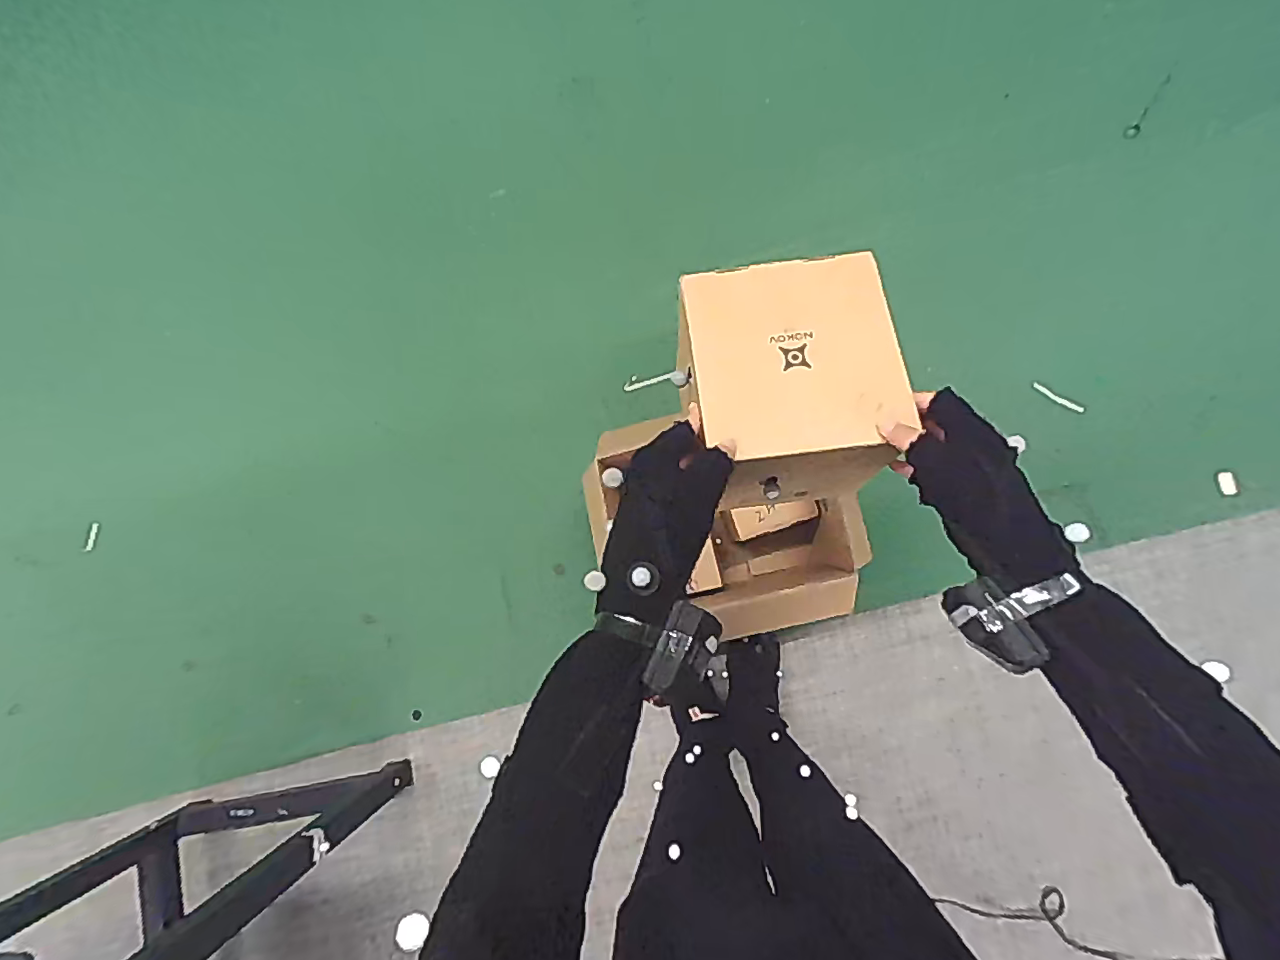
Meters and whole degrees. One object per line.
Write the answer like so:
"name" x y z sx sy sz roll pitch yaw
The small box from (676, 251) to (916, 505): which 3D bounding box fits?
"small box" 0.126 -0.080 0.511 0.168 0.176 0.179 -7 72 1
